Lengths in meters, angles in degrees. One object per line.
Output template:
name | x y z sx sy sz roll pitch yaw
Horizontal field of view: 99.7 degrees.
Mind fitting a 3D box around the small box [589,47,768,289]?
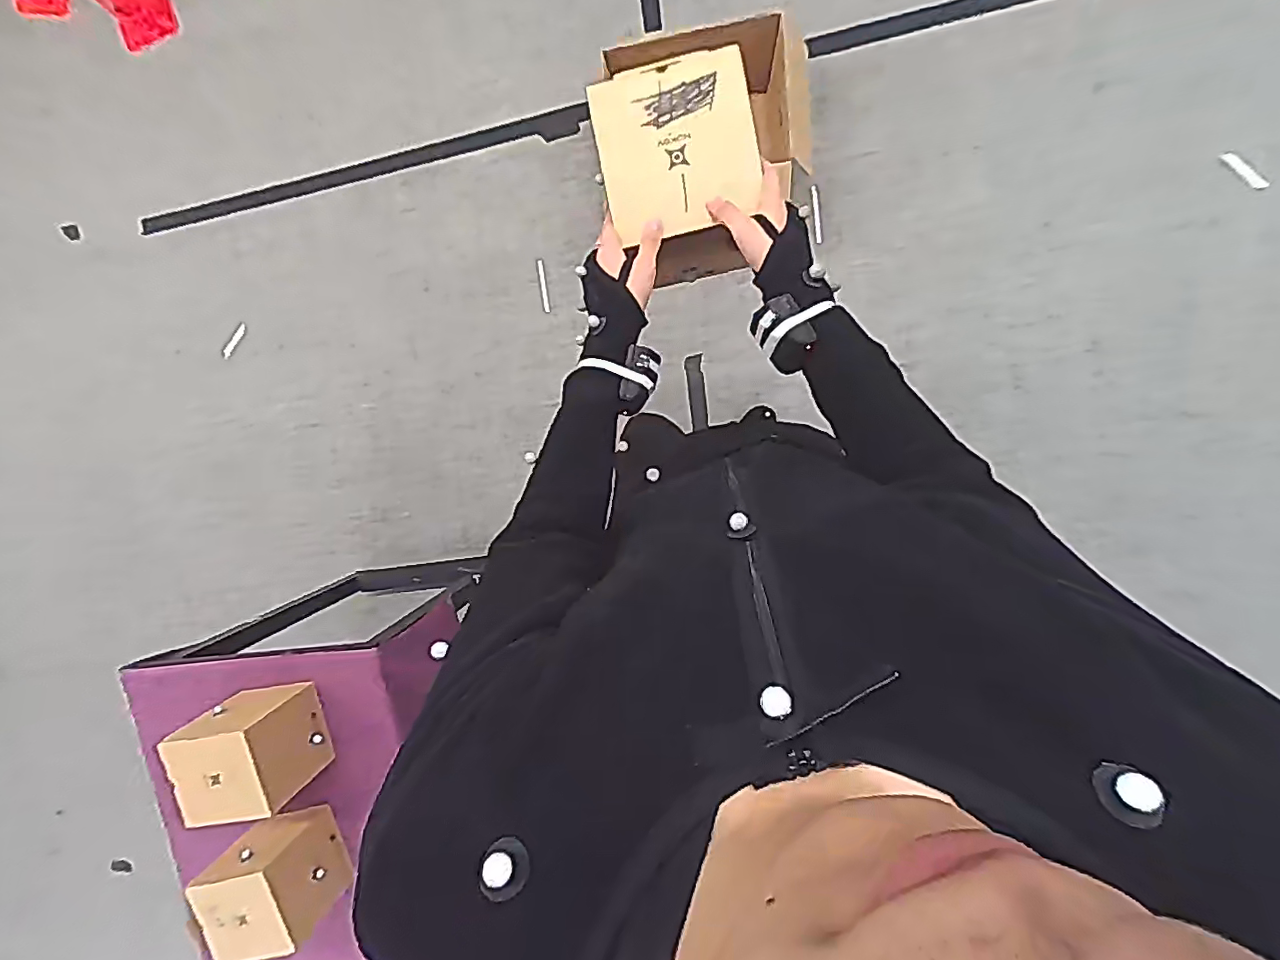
small box | 0.047 -0.354 0.650 0.168 0.176 0.179 -11 92 7

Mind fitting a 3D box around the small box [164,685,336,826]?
small box | -0.718 0.507 1.012 0.179 0.176 0.168 -11 97 10

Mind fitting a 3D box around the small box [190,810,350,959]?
small box | -0.698 0.776 1.047 0.179 0.176 0.168 -17 95 11
